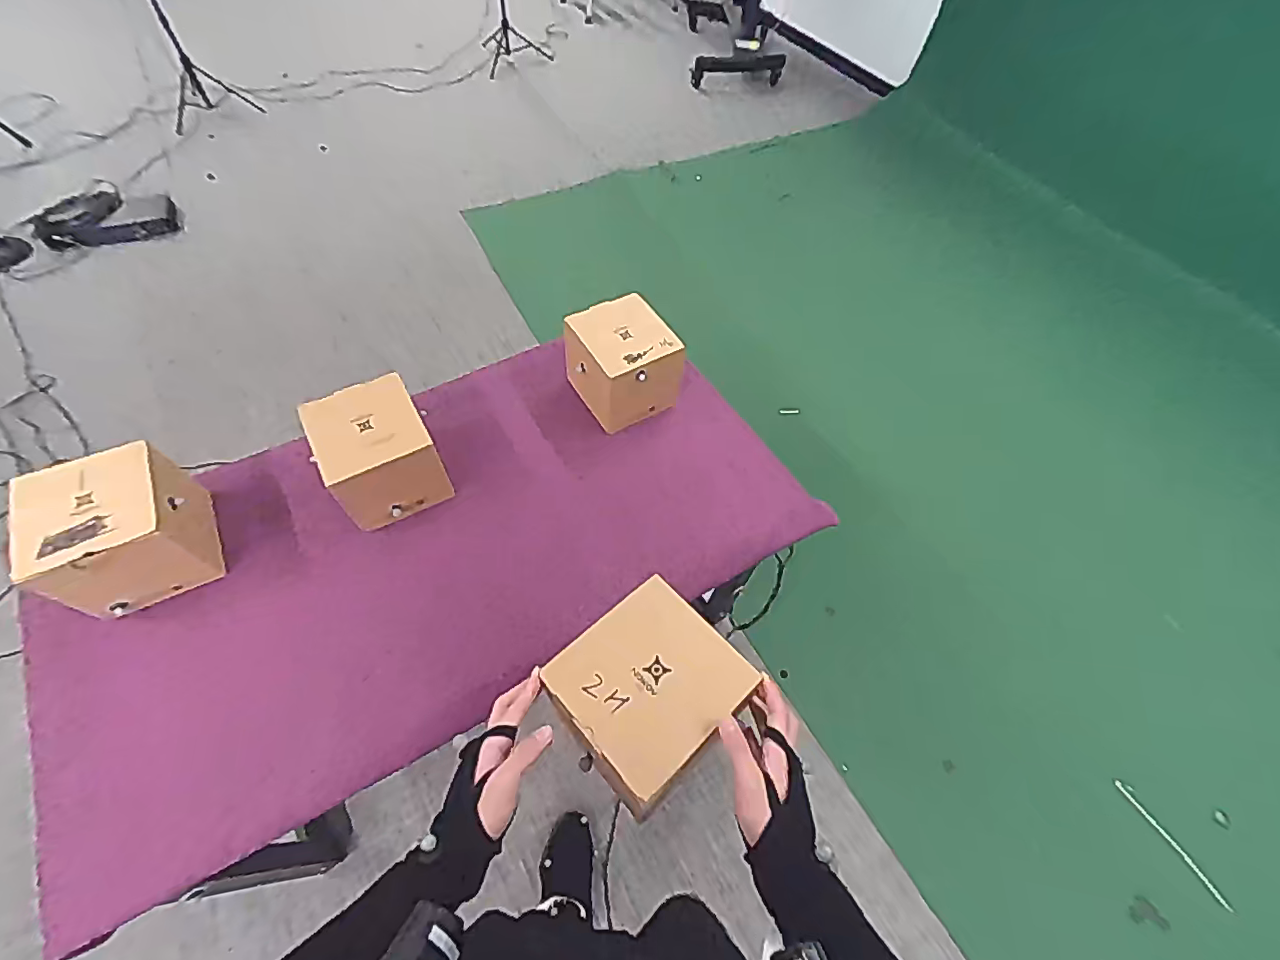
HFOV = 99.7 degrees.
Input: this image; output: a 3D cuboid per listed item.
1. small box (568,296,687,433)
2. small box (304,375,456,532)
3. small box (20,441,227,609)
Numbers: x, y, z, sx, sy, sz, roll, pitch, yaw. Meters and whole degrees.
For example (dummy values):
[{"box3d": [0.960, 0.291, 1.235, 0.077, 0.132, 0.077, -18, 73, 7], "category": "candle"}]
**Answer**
[{"box3d": [-0.030, -0.227, 1.079, 0.168, 0.176, 0.179, -27, 63, -19], "category": "small box"}, {"box3d": [-0.438, -0.043, 0.931, 0.168, 0.176, 0.179, -26, 64, -18], "category": "small box"}, {"box3d": [-0.769, 0.078, 0.822, 0.168, 0.176, 0.179, -23, 63, -19], "category": "small box"}]
